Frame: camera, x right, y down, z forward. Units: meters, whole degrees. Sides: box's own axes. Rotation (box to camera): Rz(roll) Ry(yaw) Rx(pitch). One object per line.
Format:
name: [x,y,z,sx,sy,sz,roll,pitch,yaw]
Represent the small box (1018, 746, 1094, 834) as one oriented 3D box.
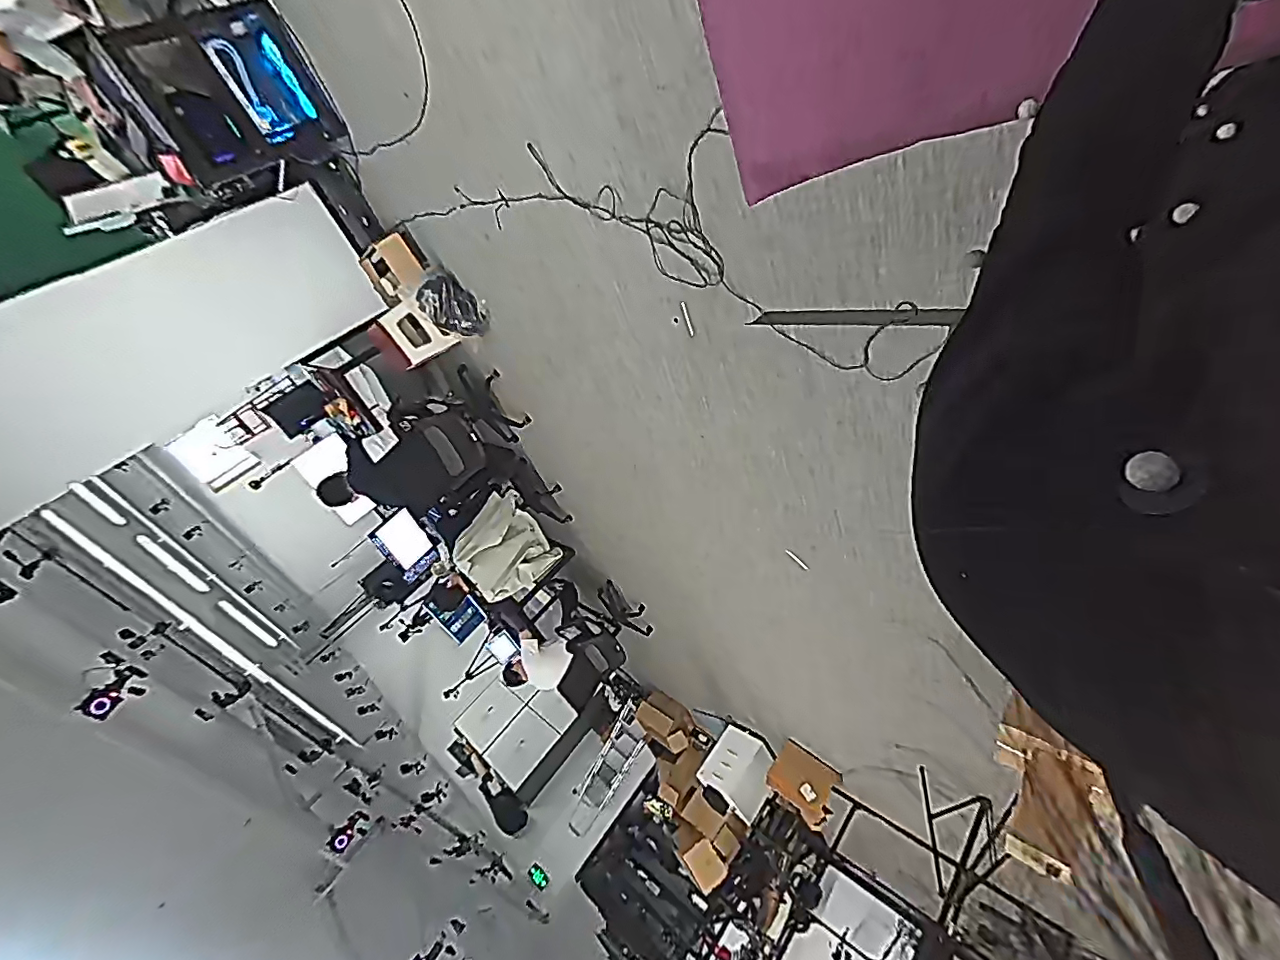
small box: [1.434,1.062,1.862,0.179,0.176,0.168,16,140,45]
